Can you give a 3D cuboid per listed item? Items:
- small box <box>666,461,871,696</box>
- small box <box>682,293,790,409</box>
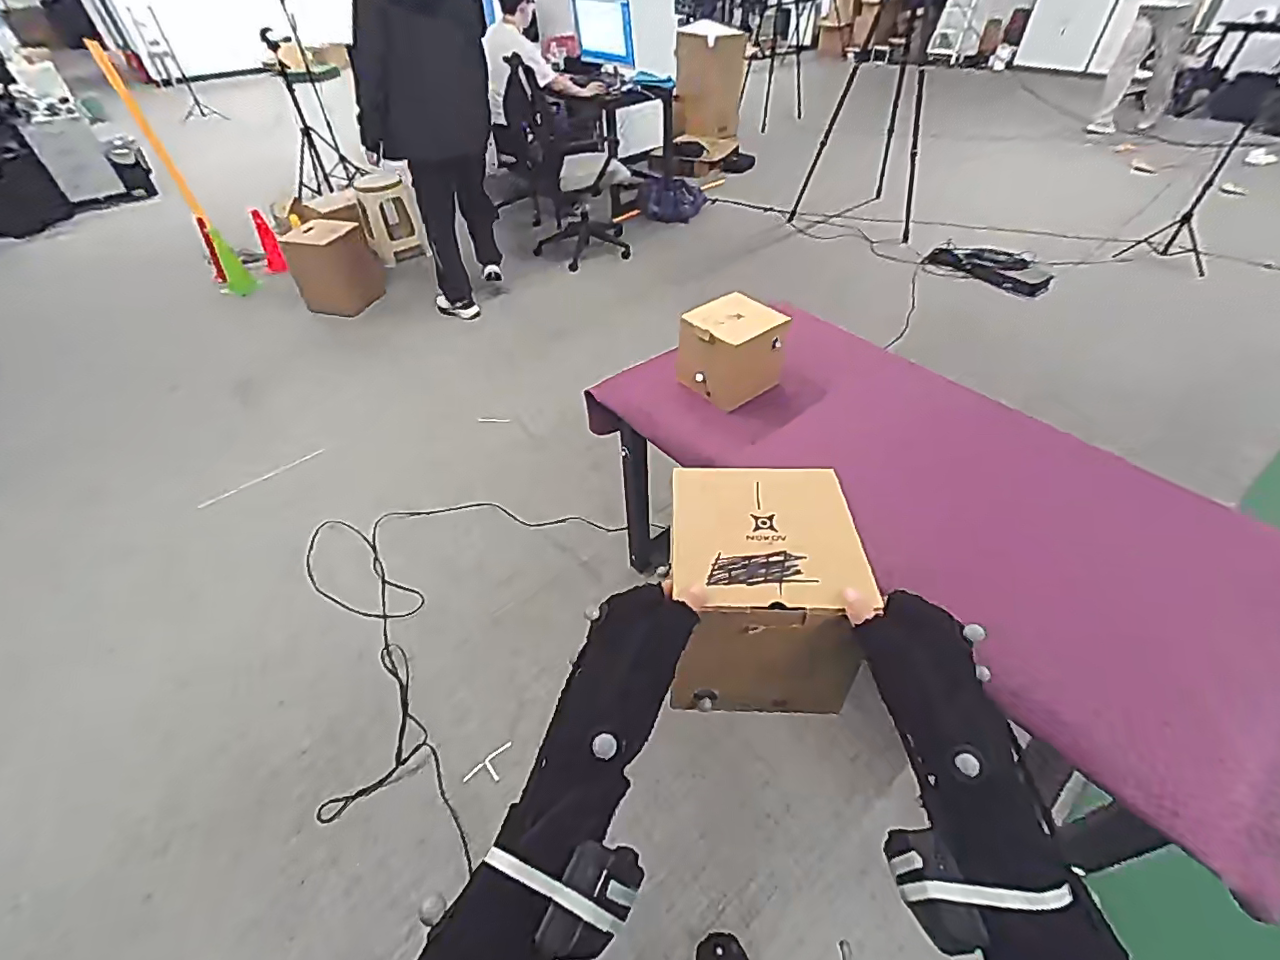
[{"bbox_3d":[0.111,0.099,0.545,0.168,0.176,0.179,0,40,3],"label":"small box"},{"bbox_3d":[0.205,-0.290,1.214,0.179,0.176,0.168,-31,51,-25],"label":"small box"}]
